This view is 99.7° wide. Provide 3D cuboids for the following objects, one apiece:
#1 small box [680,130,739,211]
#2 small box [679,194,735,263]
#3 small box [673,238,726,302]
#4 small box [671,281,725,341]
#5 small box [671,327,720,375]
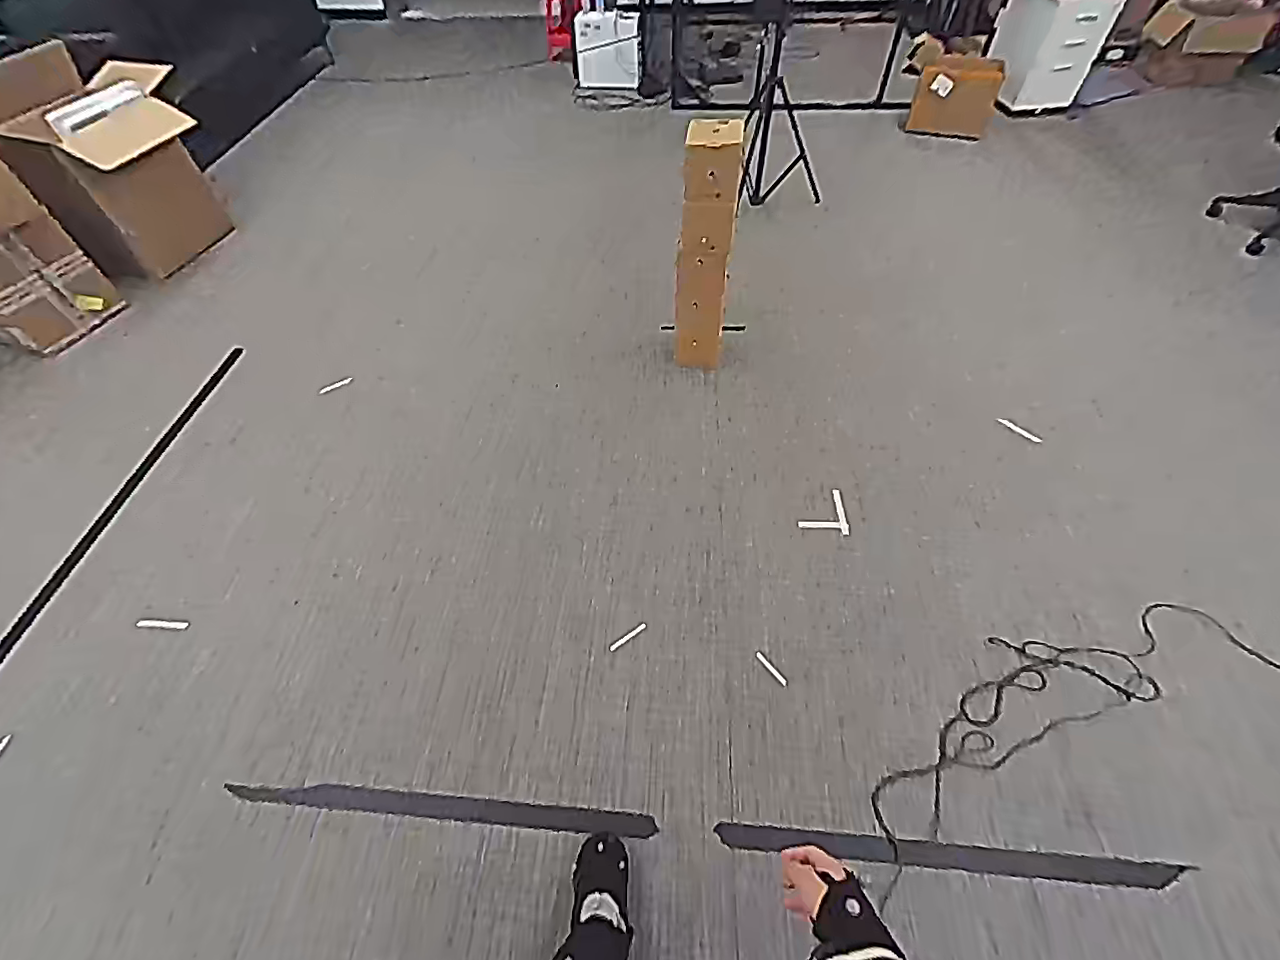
[{"bbox_3d":[0.216,-0.958,1.677,0.168,0.176,0.179,5,54,7],"label":"small box"},{"bbox_3d":[0.221,-0.851,1.802,0.168,0.176,0.179,7,55,9],"label":"small box"},{"bbox_3d":[0.214,-0.755,1.936,0.179,0.176,0.168,8,54,8],"label":"small box"},{"bbox_3d":[0.219,-0.651,2.060,0.179,0.176,0.168,10,54,10],"label":"small box"},{"bbox_3d":[0.224,-0.544,2.185,0.179,0.176,0.168,7,53,8],"label":"small box"}]
